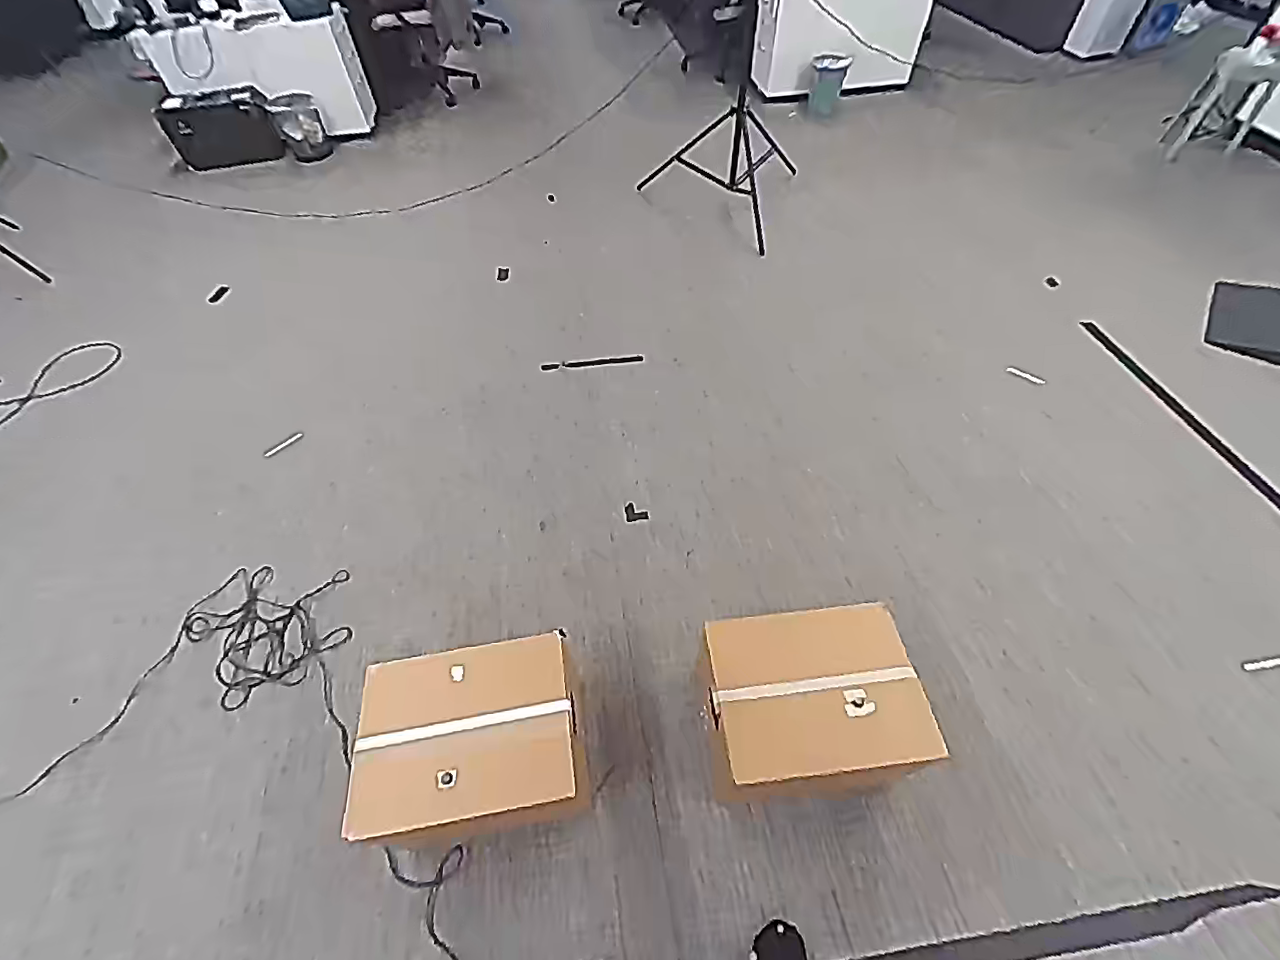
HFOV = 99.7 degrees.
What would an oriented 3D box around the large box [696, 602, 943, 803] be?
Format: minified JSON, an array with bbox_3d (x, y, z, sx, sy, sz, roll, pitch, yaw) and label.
[{"bbox_3d":[0.356,0.500,1.204,0.408,0.320,0.320,-5,53,-3],"label":"large box"}]
